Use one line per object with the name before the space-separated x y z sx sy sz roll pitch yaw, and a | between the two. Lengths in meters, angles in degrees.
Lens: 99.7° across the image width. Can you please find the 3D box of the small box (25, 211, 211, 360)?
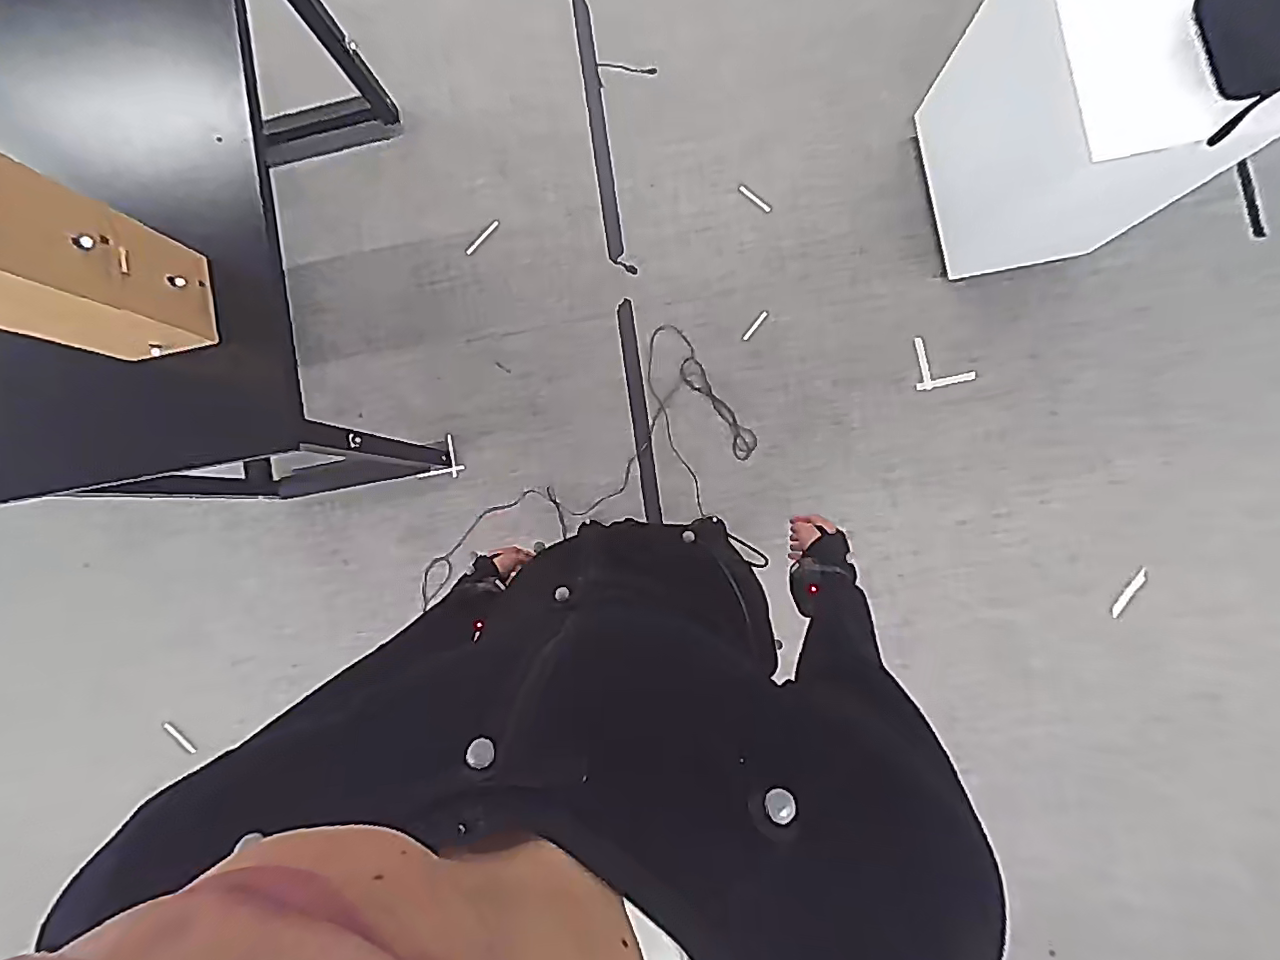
small box | -0.863 -0.314 0.905 0.179 0.176 0.168 -11 87 3

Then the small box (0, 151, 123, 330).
small box | -0.877 -0.321 0.741 0.179 0.176 0.168 -11 87 3
